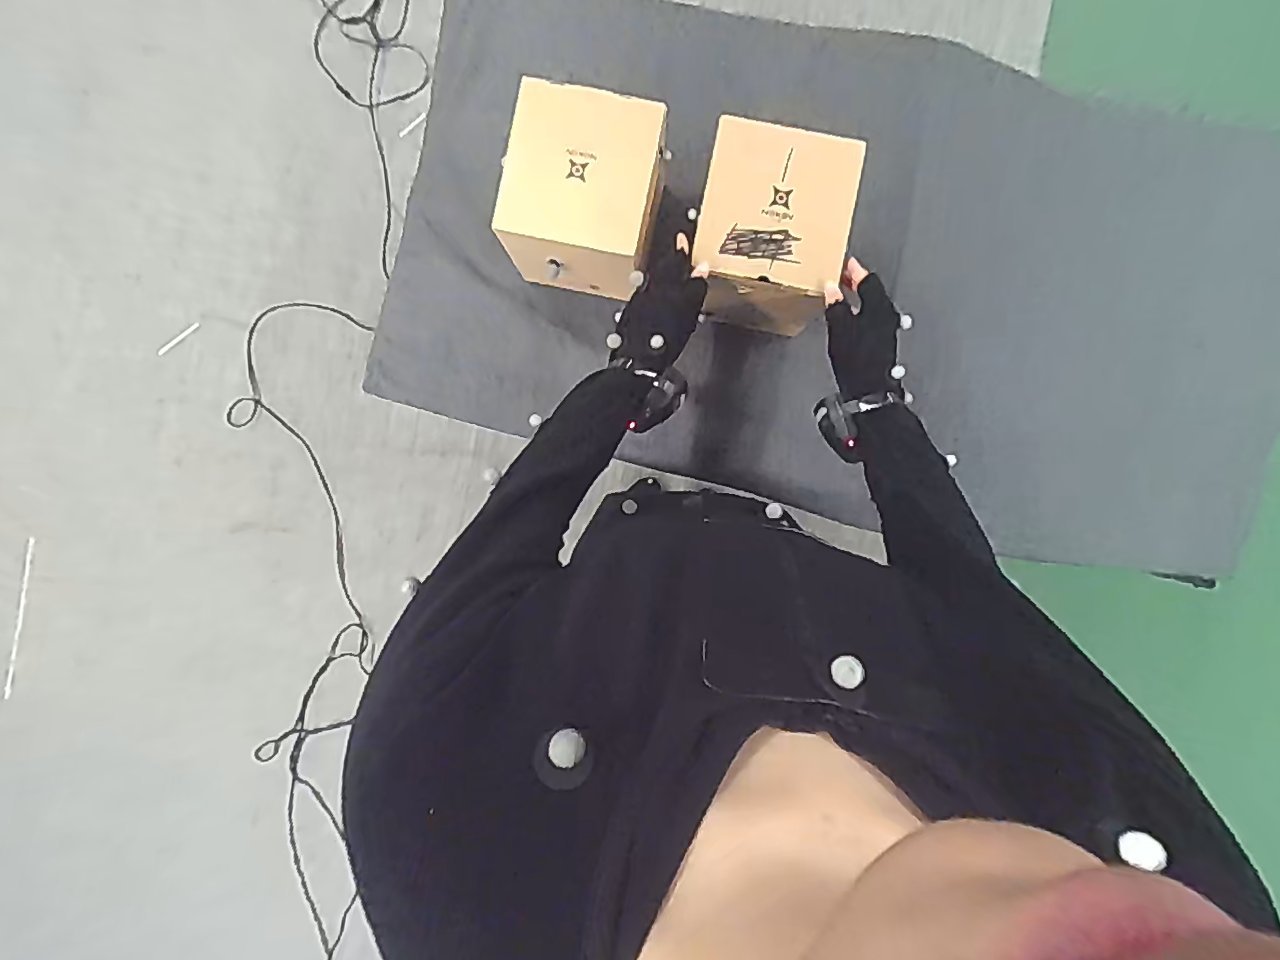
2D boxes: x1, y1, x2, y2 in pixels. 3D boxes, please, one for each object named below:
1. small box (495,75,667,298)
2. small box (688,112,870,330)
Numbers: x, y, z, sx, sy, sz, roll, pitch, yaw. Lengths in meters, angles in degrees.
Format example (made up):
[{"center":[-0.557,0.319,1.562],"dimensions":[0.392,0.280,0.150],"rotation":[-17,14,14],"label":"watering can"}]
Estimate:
[{"center":[-0.063,-0.347,0.675],"dimensions":[0.168,0.176,0.179],"rotation":[12,90,1],"label":"small box"},{"center":[0.156,-0.302,0.669],"dimensions":[0.168,0.176,0.179],"rotation":[12,90,1],"label":"small box"}]
